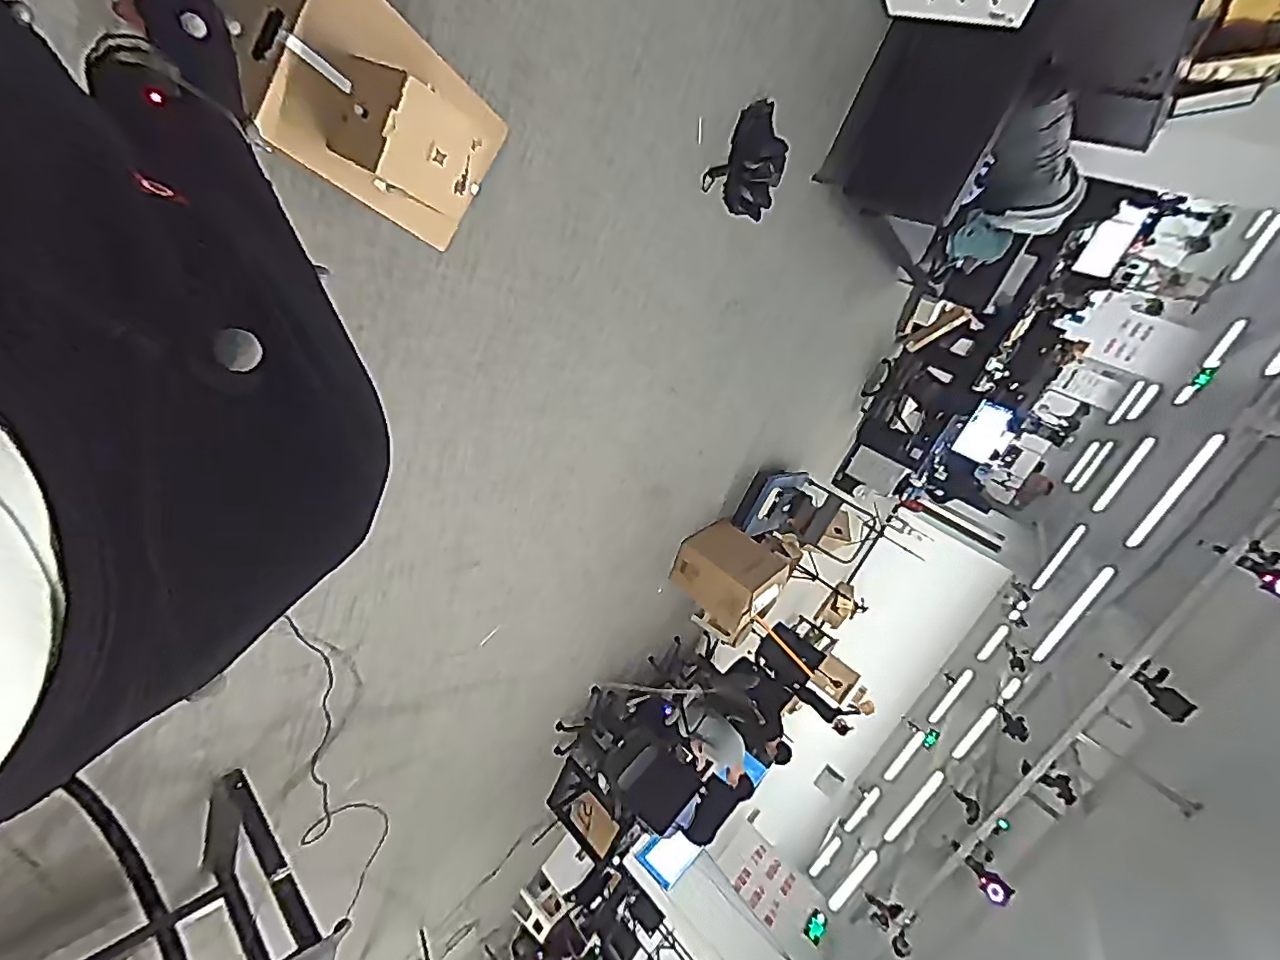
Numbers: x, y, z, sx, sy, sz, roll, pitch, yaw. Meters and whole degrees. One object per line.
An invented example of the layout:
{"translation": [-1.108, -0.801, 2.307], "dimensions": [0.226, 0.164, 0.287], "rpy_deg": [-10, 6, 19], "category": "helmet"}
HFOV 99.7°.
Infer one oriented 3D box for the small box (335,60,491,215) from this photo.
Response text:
{"translation": [-0.412, -0.615, 0.974], "dimensions": [0.179, 0.176, 0.168], "rpy_deg": [6, 116, -57], "category": "small box"}
